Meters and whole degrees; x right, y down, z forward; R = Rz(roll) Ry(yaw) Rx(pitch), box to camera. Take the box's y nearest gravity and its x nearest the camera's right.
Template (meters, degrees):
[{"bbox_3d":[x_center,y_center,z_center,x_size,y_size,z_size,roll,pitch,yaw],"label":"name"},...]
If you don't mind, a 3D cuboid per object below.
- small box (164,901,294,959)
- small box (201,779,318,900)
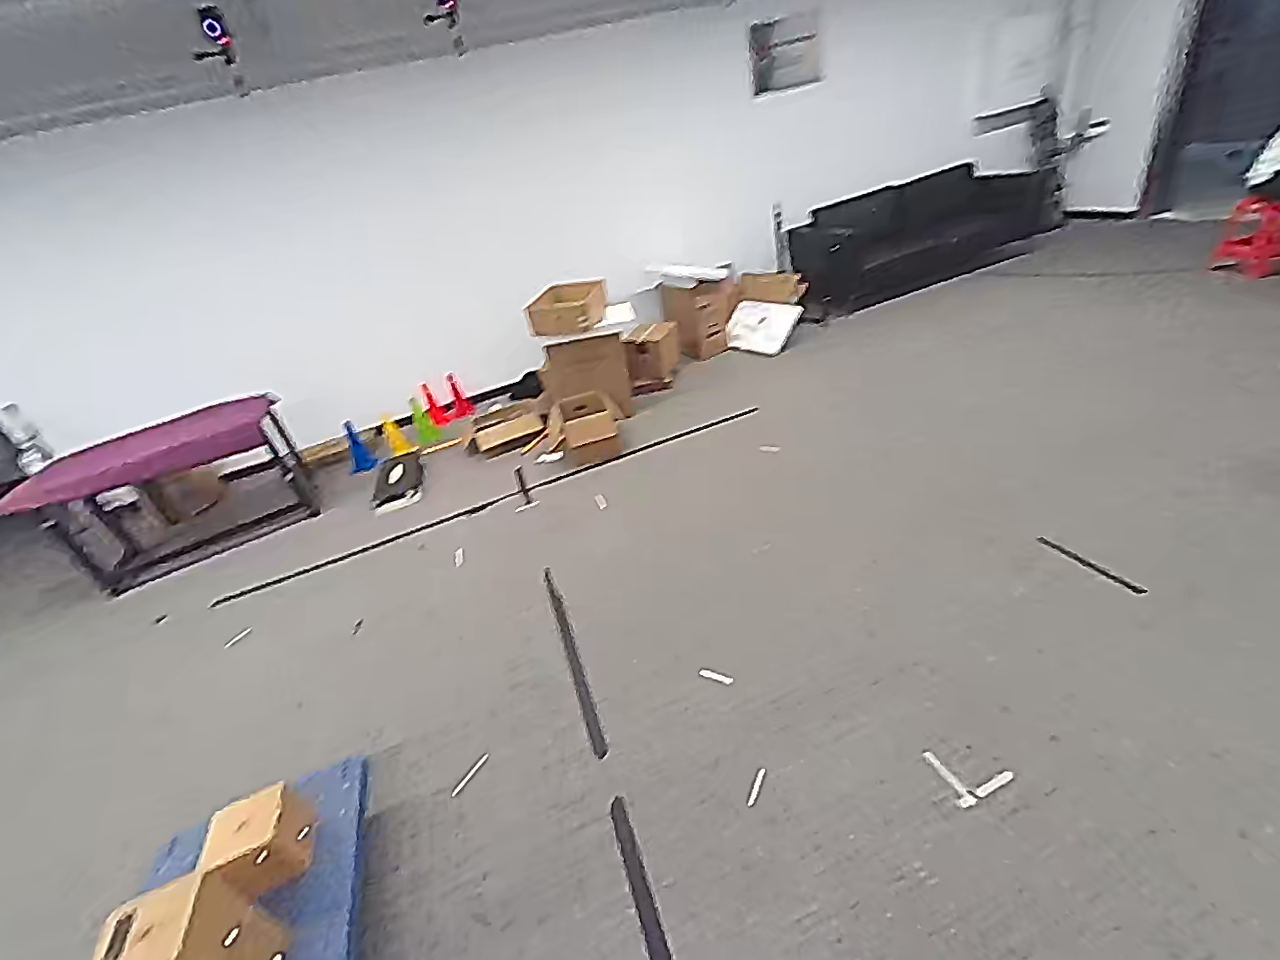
[{"bbox_3d":[-0.887,1.059,1.151,0.179,0.176,0.168,-18,31,-9],"label":"small box"},{"bbox_3d":[-0.975,0.933,1.402,0.179,0.176,0.168,-22,31,-14],"label":"small box"}]
